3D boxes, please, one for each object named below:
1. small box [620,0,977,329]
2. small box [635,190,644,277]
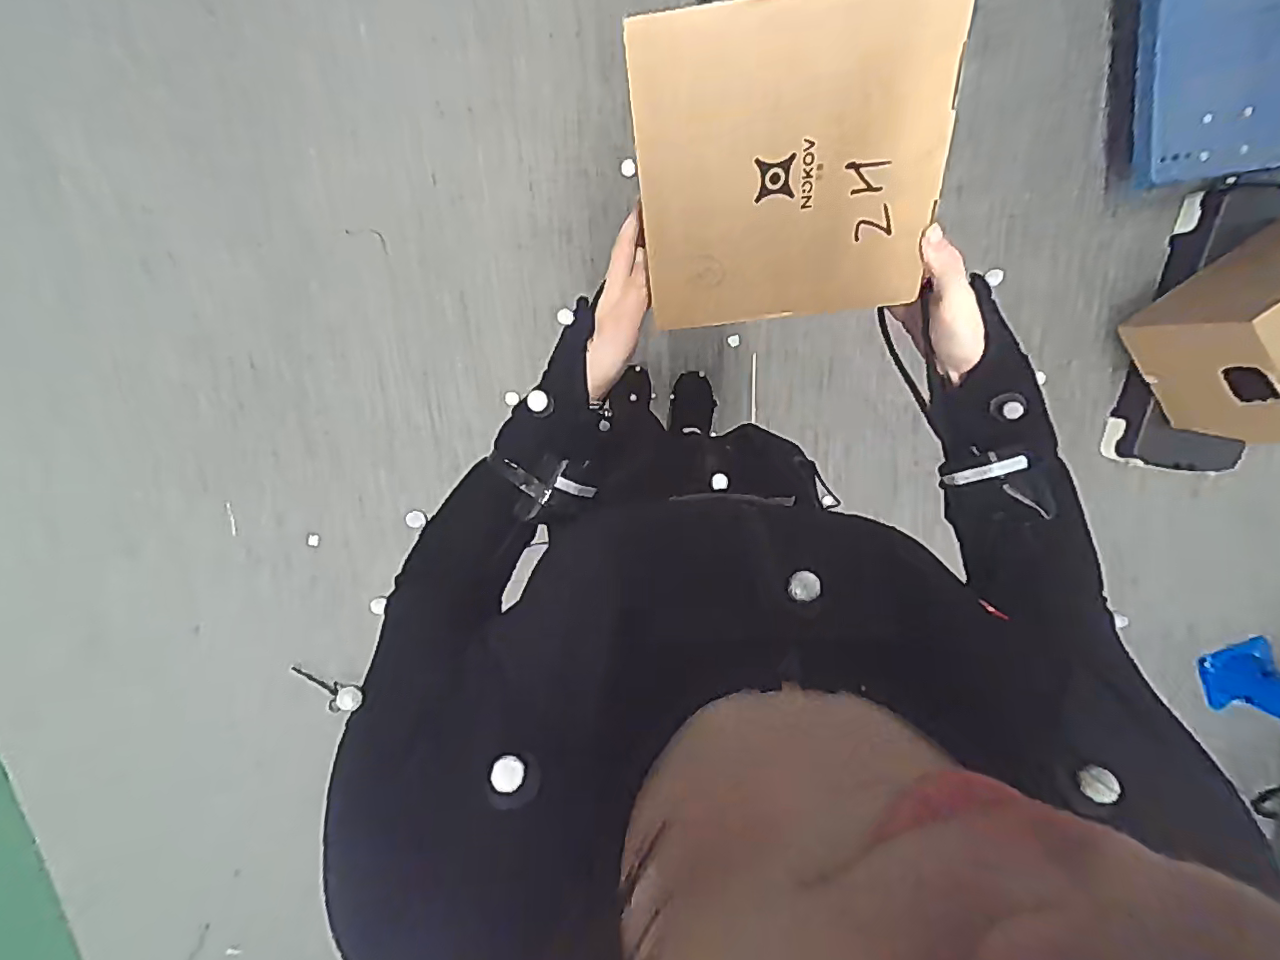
[{"bbox_3d":[0.087,-0.221,0.374,0.179,0.176,0.168,-5,129,5],"label":"small box"},{"bbox_3d":[0.075,-0.576,1.279,0.168,0.176,0.179,-1,104,2],"label":"small box"}]
